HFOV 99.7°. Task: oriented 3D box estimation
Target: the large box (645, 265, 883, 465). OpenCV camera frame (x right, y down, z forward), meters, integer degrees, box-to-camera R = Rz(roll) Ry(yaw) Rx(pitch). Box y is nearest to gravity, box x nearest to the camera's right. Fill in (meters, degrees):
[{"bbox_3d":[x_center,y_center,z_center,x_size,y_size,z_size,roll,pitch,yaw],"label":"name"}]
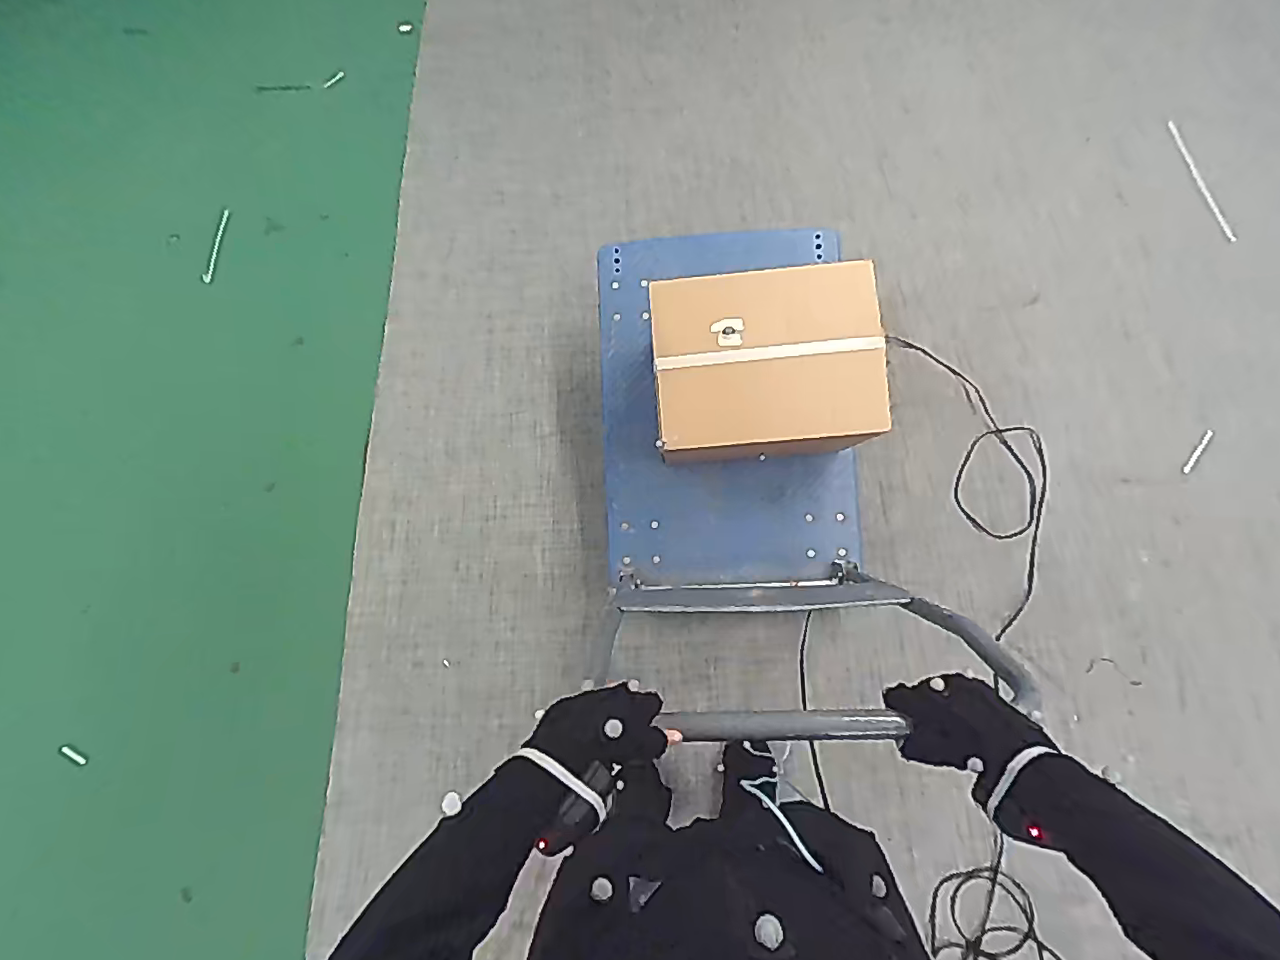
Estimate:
[{"bbox_3d":[0.234,-0.210,1.130,0.408,0.320,0.320,-6,86,4],"label":"large box"}]
